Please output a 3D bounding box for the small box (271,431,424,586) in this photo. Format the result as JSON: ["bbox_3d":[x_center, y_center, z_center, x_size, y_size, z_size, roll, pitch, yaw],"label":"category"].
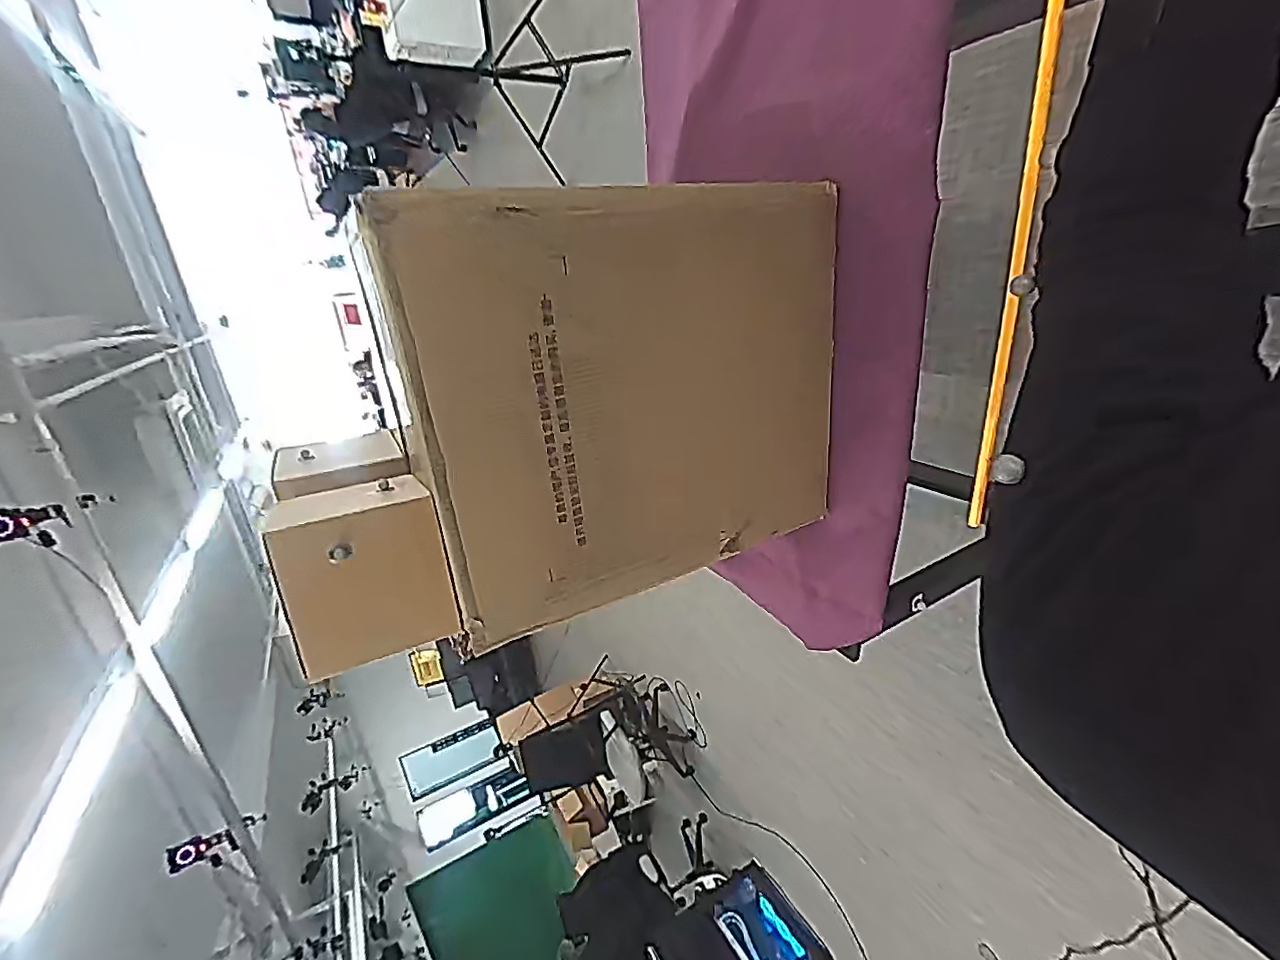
[{"bbox_3d":[-0.444,0.032,0.837,0.179,0.176,0.168,33,132,54],"label":"small box"}]
